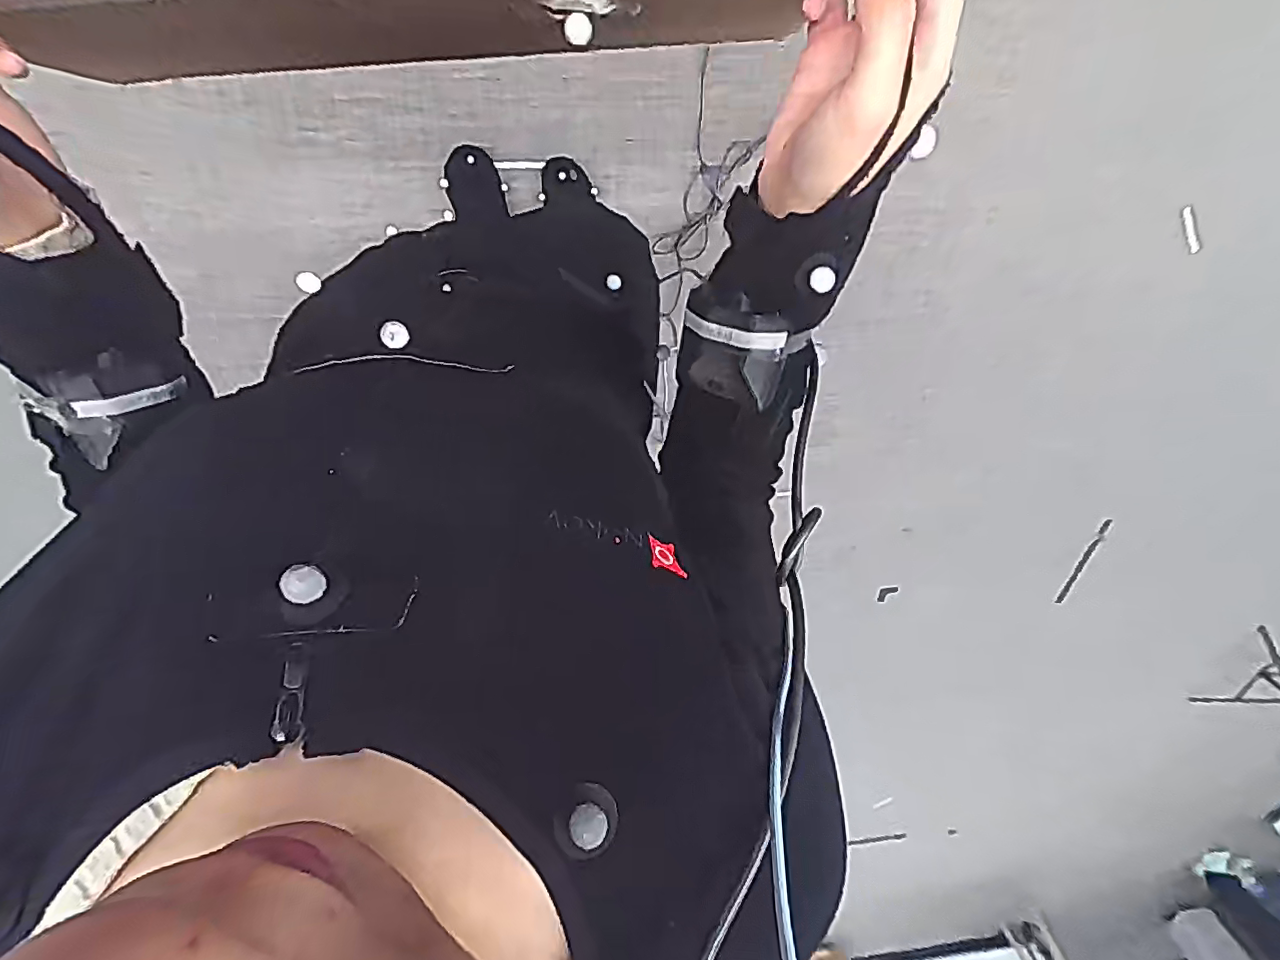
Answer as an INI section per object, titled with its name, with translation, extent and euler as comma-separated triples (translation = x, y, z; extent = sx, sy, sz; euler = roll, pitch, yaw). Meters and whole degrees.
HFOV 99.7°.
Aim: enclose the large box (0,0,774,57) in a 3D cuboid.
[large box]
translation = -0.103, -0.330, 0.115
extent = 0.408, 0.320, 0.320
euler = -8, 120, -4
